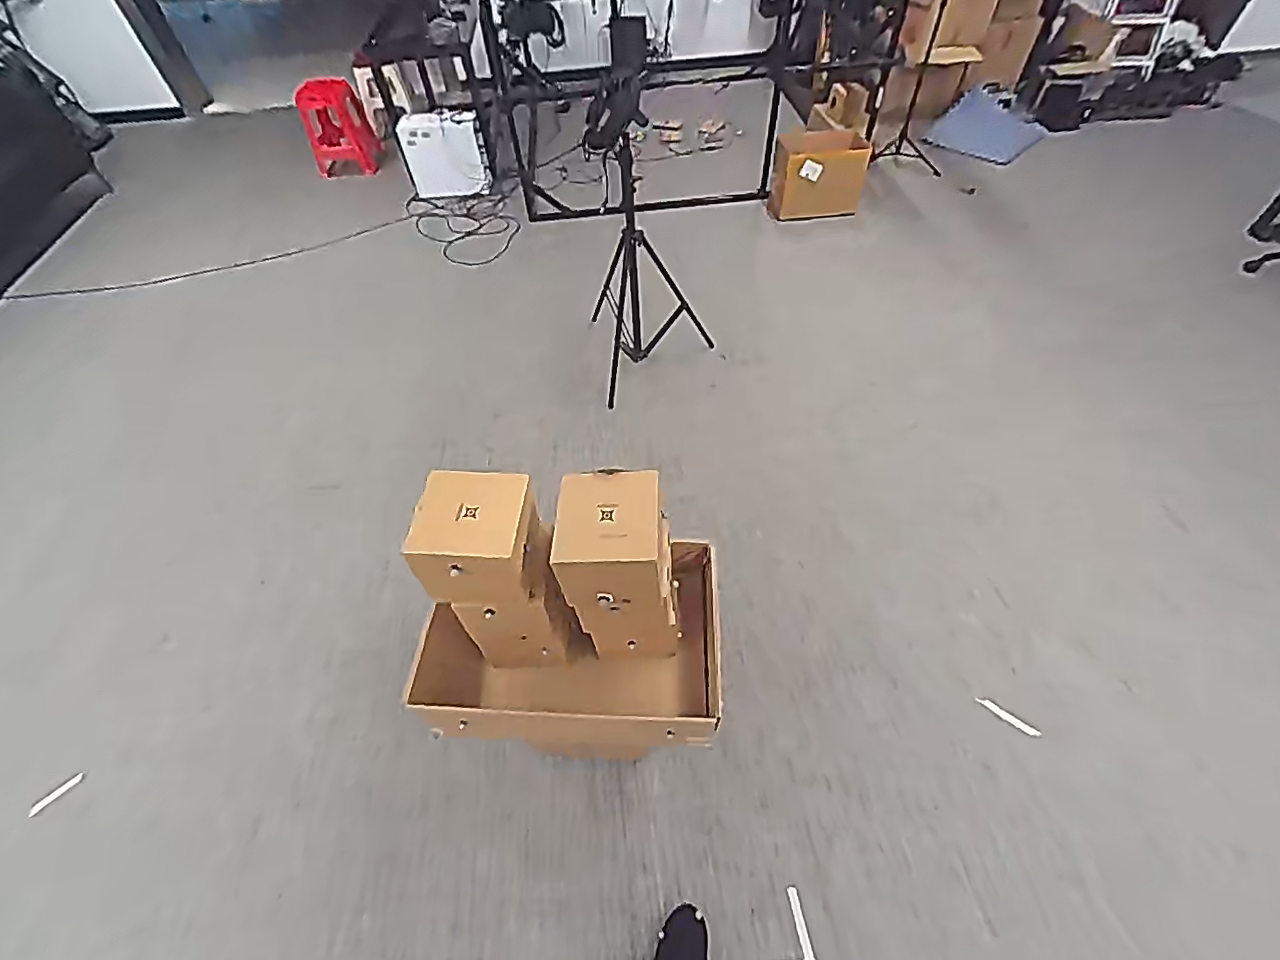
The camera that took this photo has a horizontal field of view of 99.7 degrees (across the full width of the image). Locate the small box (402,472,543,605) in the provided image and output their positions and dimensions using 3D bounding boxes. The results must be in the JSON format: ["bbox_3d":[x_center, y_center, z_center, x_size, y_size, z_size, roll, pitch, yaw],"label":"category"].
[{"bbox_3d":[-0.273,0.105,0.934,0.179,0.176,0.168,2,52,2],"label":"small box"}]

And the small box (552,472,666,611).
[{"bbox_3d":[-0.044,0.105,0.919,0.168,0.176,0.179,-2,51,5],"label":"small box"}]
